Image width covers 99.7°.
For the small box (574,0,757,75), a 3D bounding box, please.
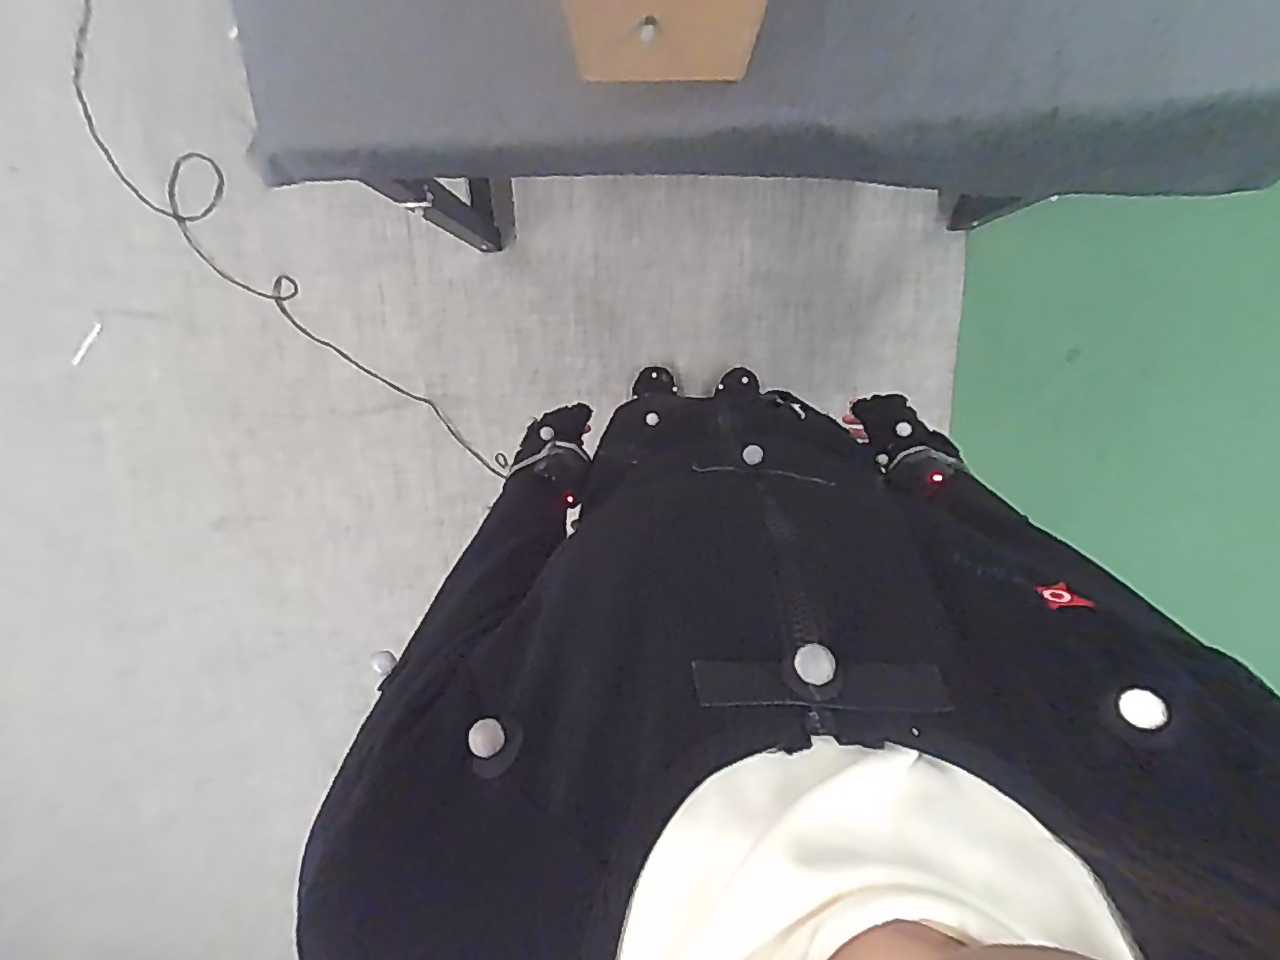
[{"bbox_3d":[0.024,-0.510,0.502,0.179,0.176,0.168,1,102,2],"label":"small box"}]
